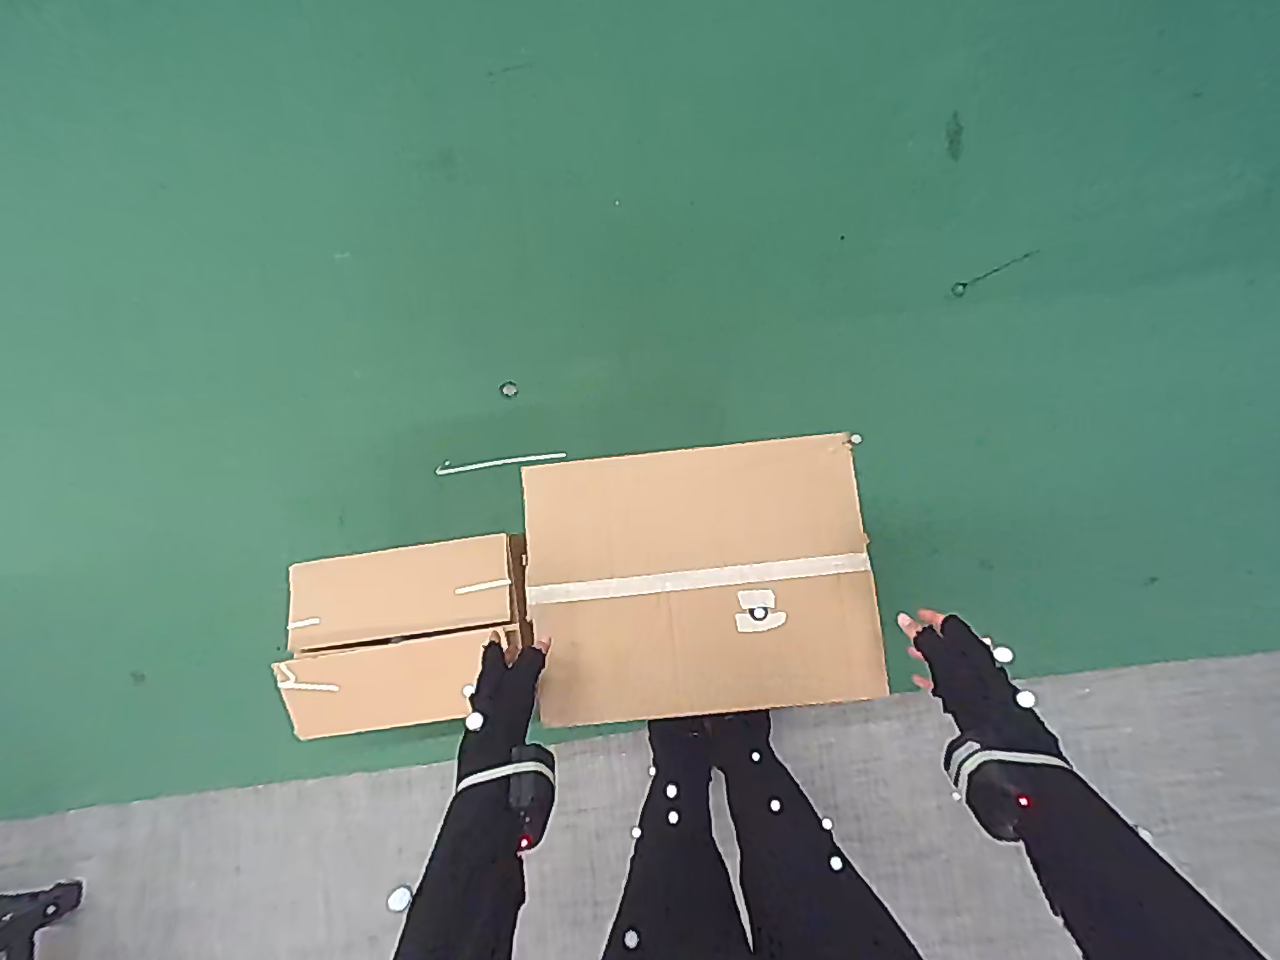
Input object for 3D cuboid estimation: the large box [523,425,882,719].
[{"bbox_3d":[0.071,0.124,0.792,0.408,0.320,0.320,-6,84,1],"label":"large box"}]
